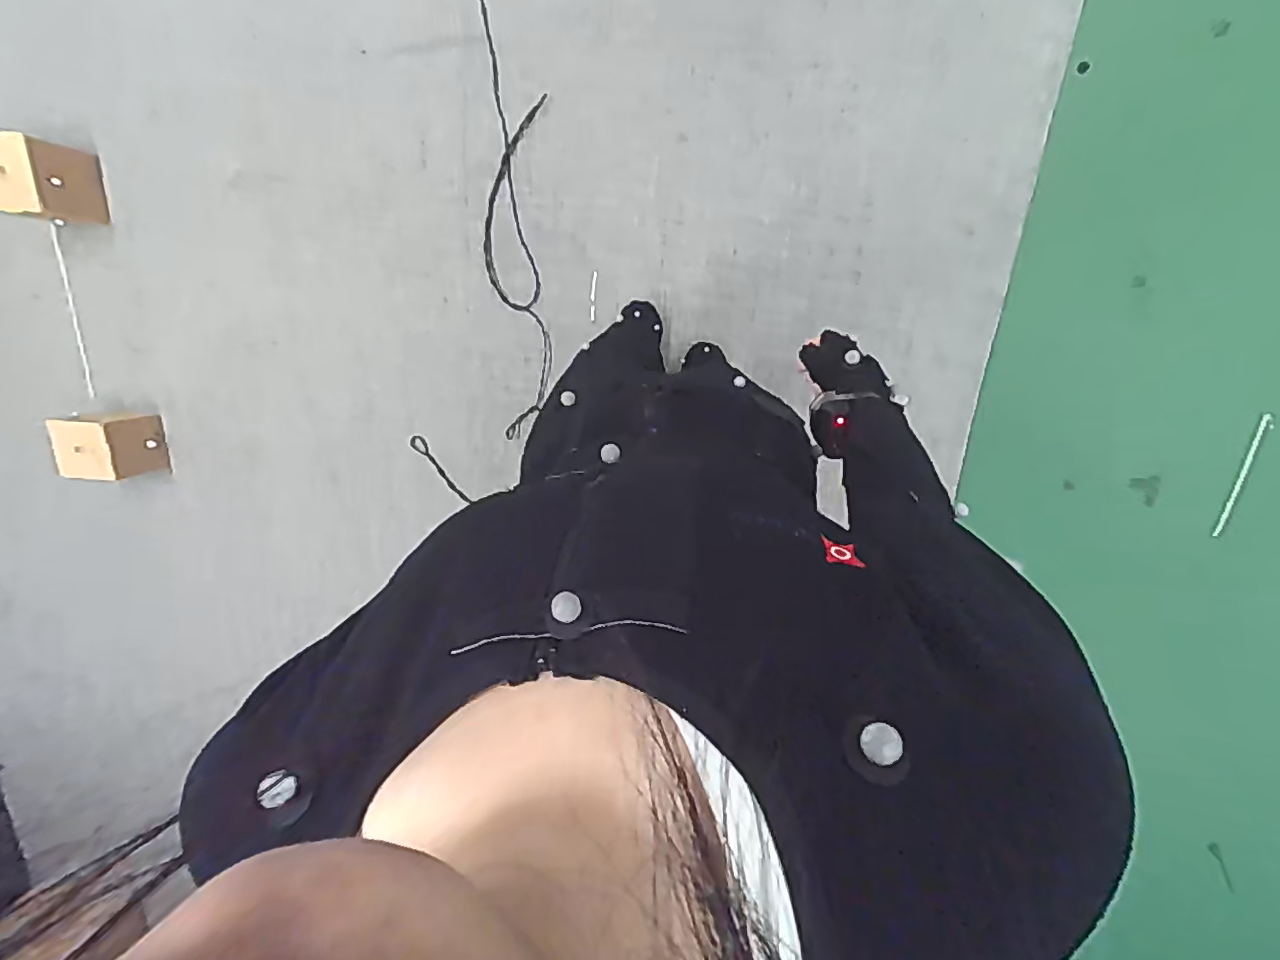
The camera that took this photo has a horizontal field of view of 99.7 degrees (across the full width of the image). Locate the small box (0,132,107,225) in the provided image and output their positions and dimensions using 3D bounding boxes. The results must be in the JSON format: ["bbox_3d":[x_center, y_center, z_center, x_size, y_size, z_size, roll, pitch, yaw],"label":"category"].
[{"bbox_3d":[-1.518,-0.756,1.365,0.168,0.176,0.179,4,108,4],"label":"small box"}]

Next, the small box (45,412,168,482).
[{"bbox_3d":[-1.536,-0.101,1.567,0.179,0.176,0.168,4,108,5],"label":"small box"}]
